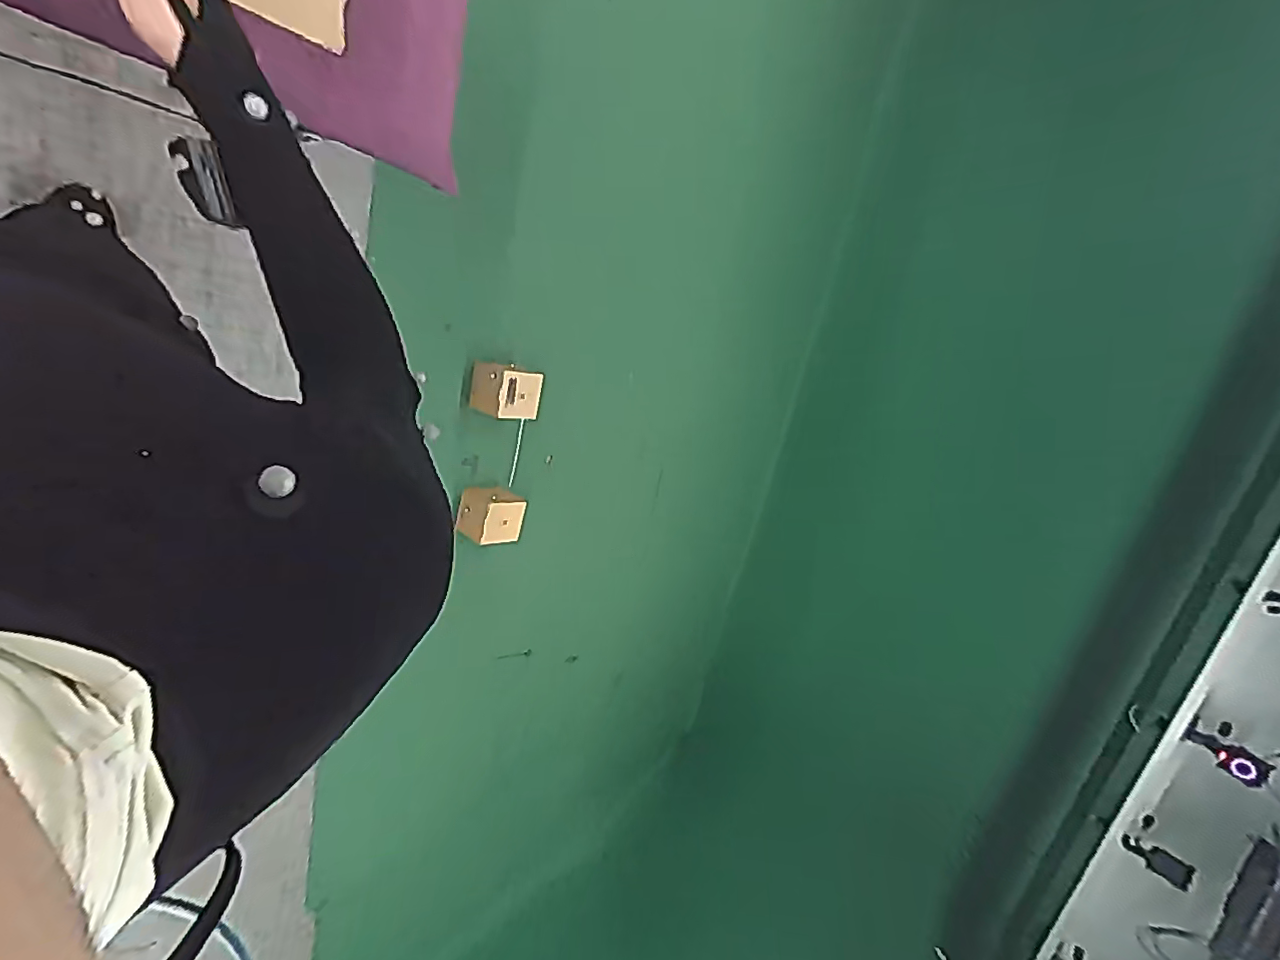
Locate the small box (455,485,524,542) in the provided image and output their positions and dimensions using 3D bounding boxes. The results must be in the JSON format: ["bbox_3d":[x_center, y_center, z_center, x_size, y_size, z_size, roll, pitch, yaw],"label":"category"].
[{"bbox_3d":[-0.578,0.123,2.074,0.179,0.176,0.168,-1,111,-52],"label":"small box"}]
